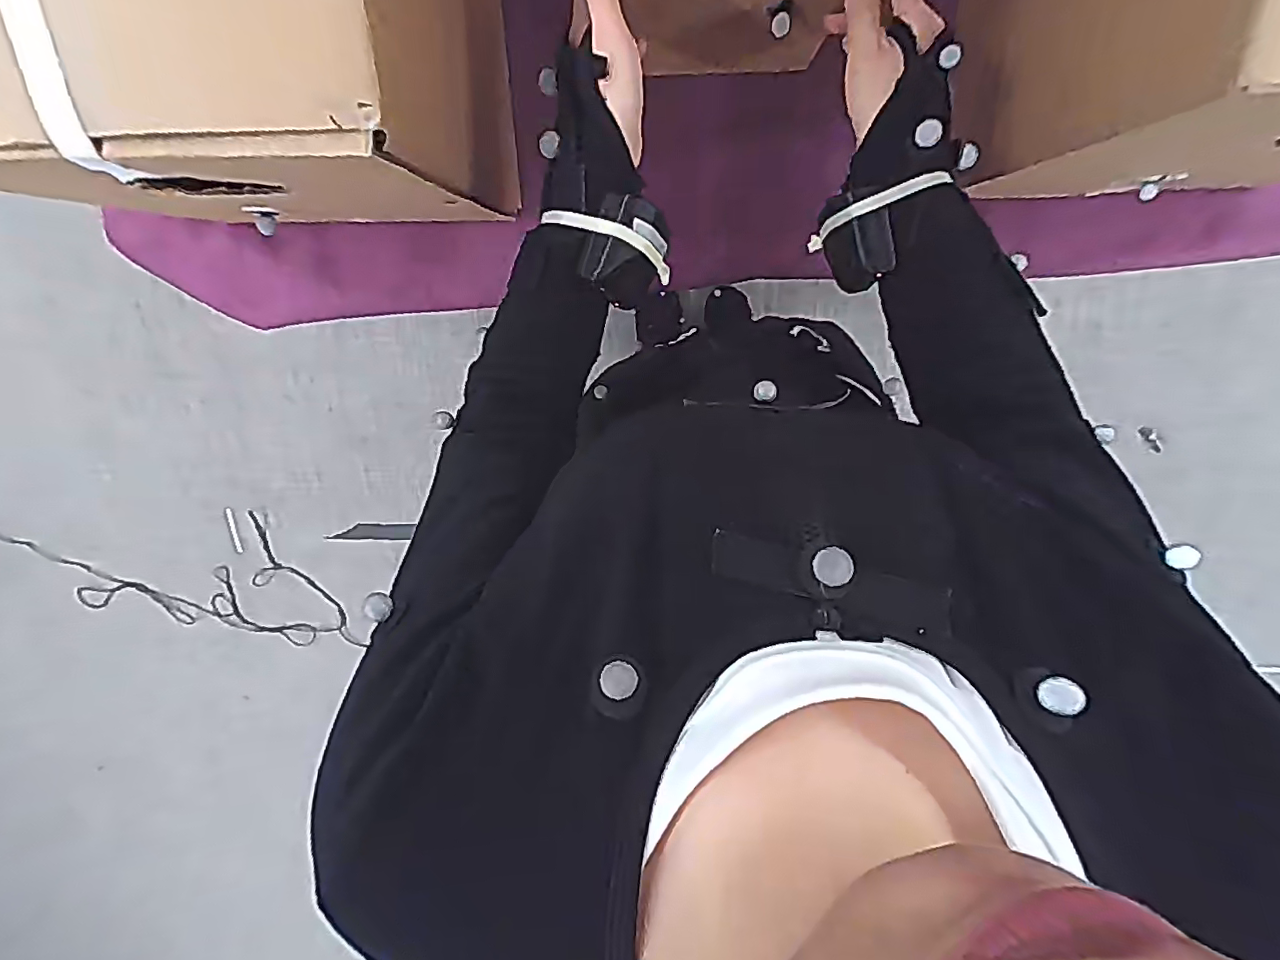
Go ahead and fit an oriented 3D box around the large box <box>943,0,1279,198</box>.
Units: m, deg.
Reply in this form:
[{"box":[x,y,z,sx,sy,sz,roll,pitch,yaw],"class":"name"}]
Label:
[{"box":[0.420,-0.417,0.310,0.320,0.320,0.408,-1,108,3],"class":"large box"}]
